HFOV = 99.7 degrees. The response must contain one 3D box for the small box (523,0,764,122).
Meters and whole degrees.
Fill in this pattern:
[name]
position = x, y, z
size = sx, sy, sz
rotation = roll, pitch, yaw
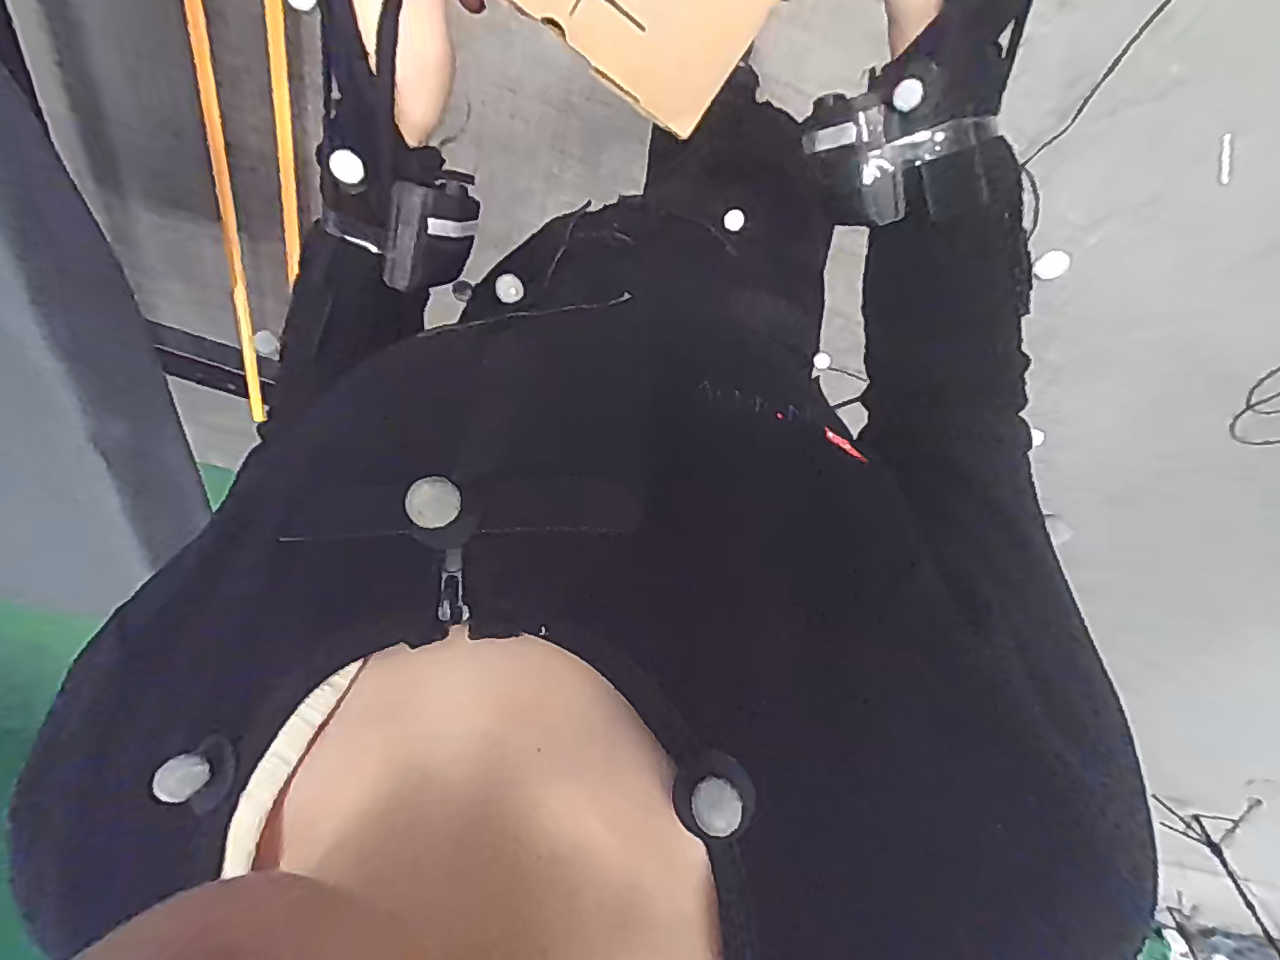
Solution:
[small box]
position = 0.008, -0.327, 0.250
size = 0.168, 0.176, 0.179
rotation = 23, 140, -24
